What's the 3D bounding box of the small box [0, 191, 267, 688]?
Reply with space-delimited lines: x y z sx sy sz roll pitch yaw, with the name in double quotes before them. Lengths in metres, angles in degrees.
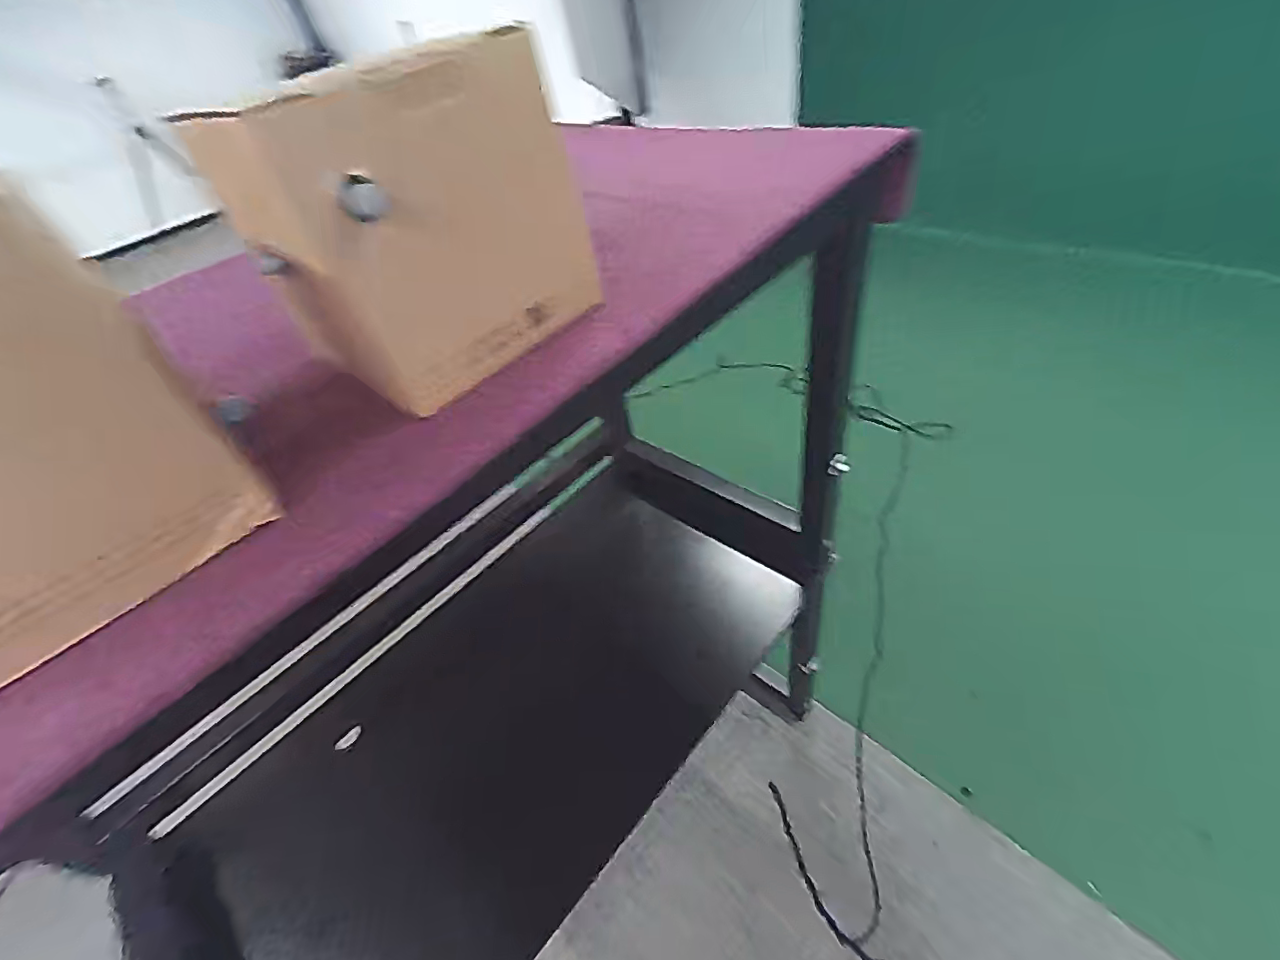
"small box" -0.328 -0.015 0.251 0.179 0.176 0.168 -39 48 -25
